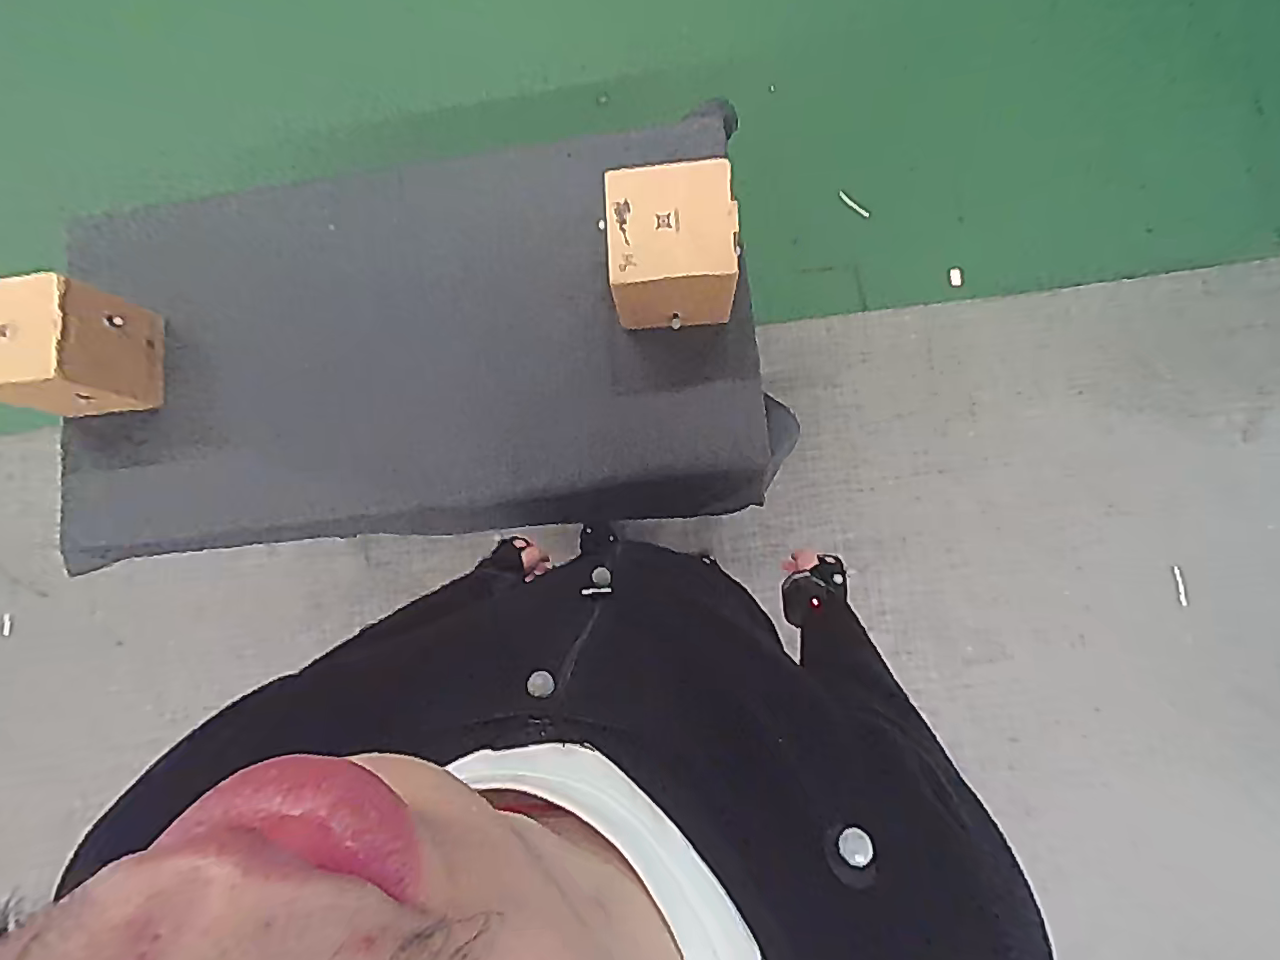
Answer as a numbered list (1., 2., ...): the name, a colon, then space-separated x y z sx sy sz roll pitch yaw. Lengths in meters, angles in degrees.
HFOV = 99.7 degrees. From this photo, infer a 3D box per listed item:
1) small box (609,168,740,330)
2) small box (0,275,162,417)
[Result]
1. small box: 0.050 -0.339 0.822 0.179 0.176 0.168 -3 84 4
2. small box: -0.920 -0.204 0.863 0.179 0.176 0.168 -4 81 3
